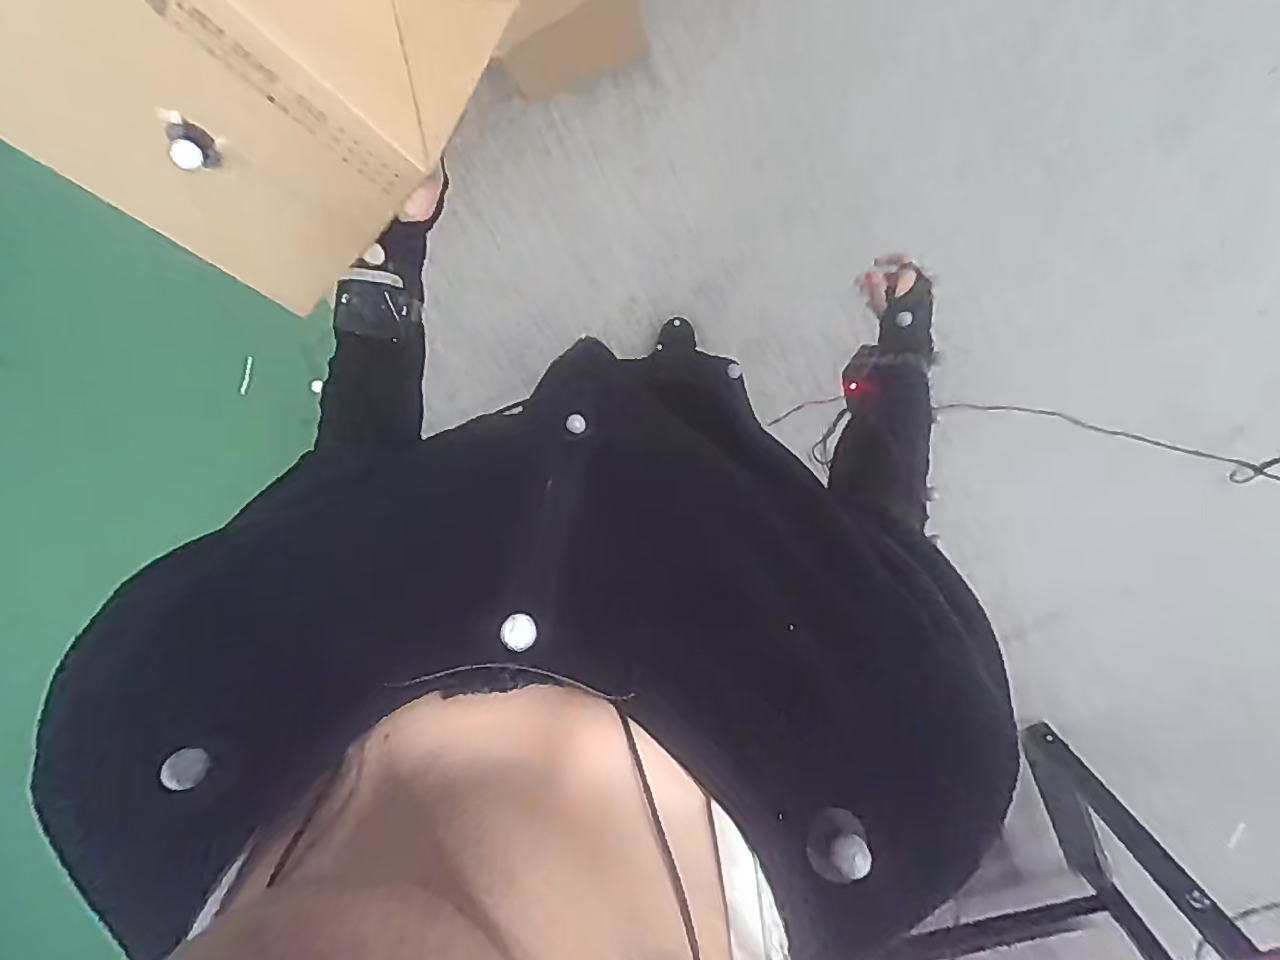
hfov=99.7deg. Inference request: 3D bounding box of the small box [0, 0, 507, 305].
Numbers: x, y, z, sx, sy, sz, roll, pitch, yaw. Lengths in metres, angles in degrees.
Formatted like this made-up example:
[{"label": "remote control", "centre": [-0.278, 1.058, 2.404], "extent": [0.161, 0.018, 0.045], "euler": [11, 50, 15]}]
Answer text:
[{"label": "small box", "centre": [-0.197, -0.235, 0.281], "extent": [0.176, 0.179, 0.168], "euler": [-16, 143, 38]}]
